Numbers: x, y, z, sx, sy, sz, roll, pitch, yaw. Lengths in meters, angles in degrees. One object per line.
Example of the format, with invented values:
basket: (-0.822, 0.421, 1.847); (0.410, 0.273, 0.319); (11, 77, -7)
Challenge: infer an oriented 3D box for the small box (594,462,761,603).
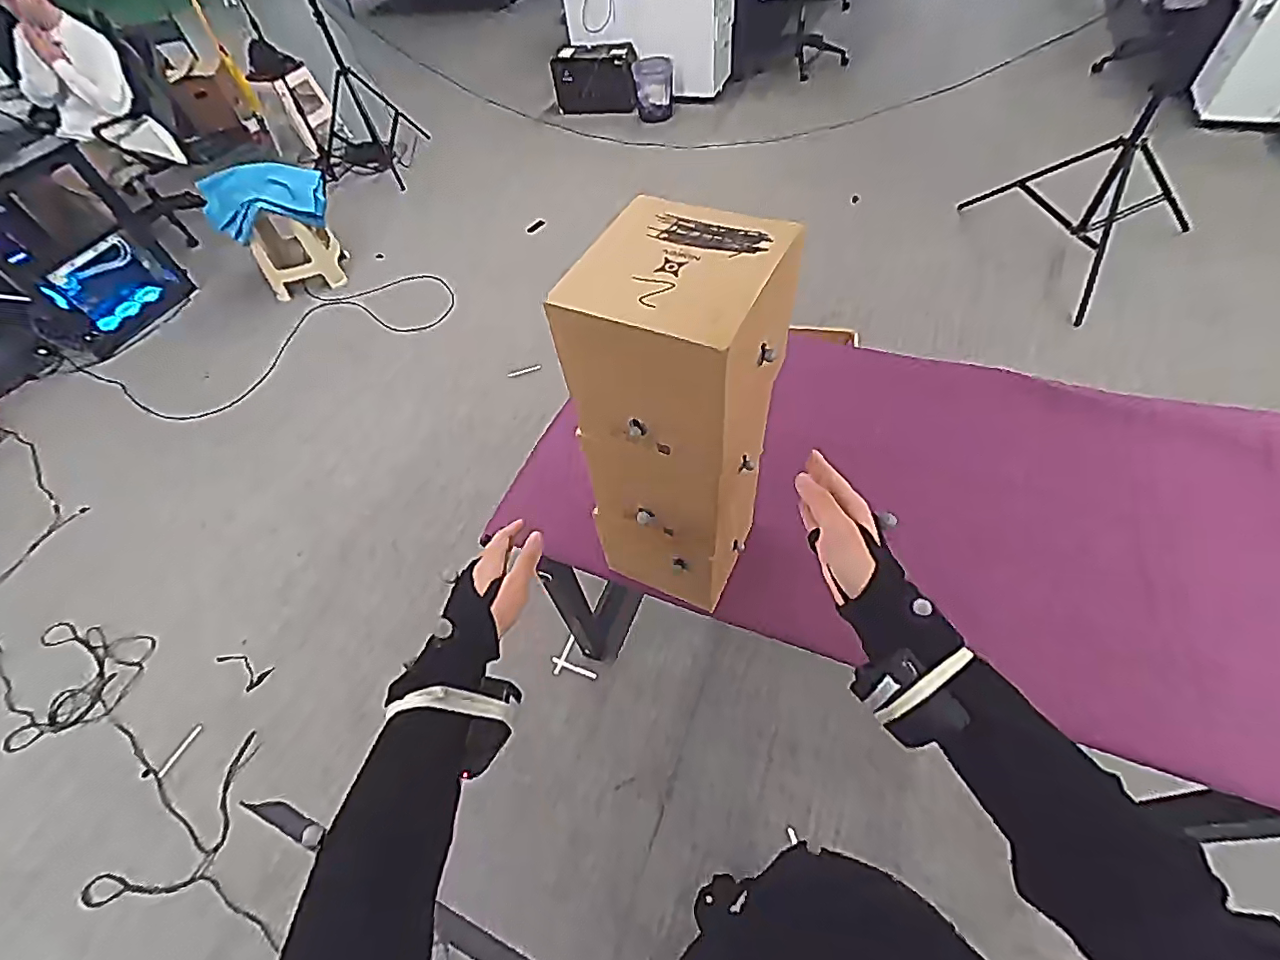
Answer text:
small box: (0.059, 0.056, 0.783); (0.179, 0.176, 0.168); (19, 59, 20)

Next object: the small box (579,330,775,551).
small box: (0.049, -0.046, 0.654); (0.168, 0.176, 0.179); (19, 60, 19)
